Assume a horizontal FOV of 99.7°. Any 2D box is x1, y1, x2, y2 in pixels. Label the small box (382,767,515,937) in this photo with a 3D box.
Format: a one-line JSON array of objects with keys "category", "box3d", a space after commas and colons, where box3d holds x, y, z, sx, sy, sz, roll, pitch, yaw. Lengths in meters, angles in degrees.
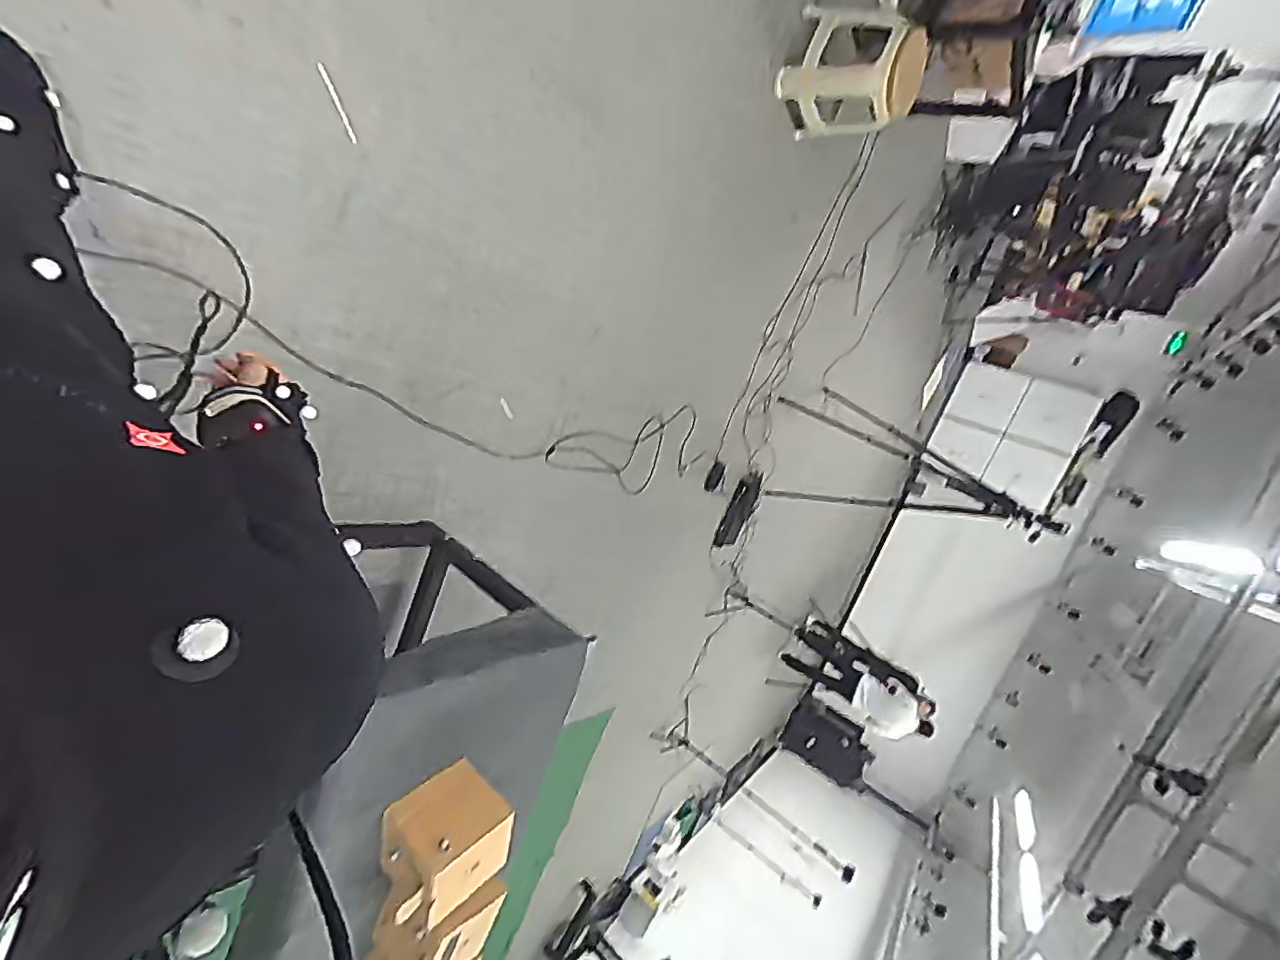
[{"category": "small box", "box3d": [-0.375, 0.710, 1.056, 0.179, 0.176, 0.168, -16, 126, -50]}]
